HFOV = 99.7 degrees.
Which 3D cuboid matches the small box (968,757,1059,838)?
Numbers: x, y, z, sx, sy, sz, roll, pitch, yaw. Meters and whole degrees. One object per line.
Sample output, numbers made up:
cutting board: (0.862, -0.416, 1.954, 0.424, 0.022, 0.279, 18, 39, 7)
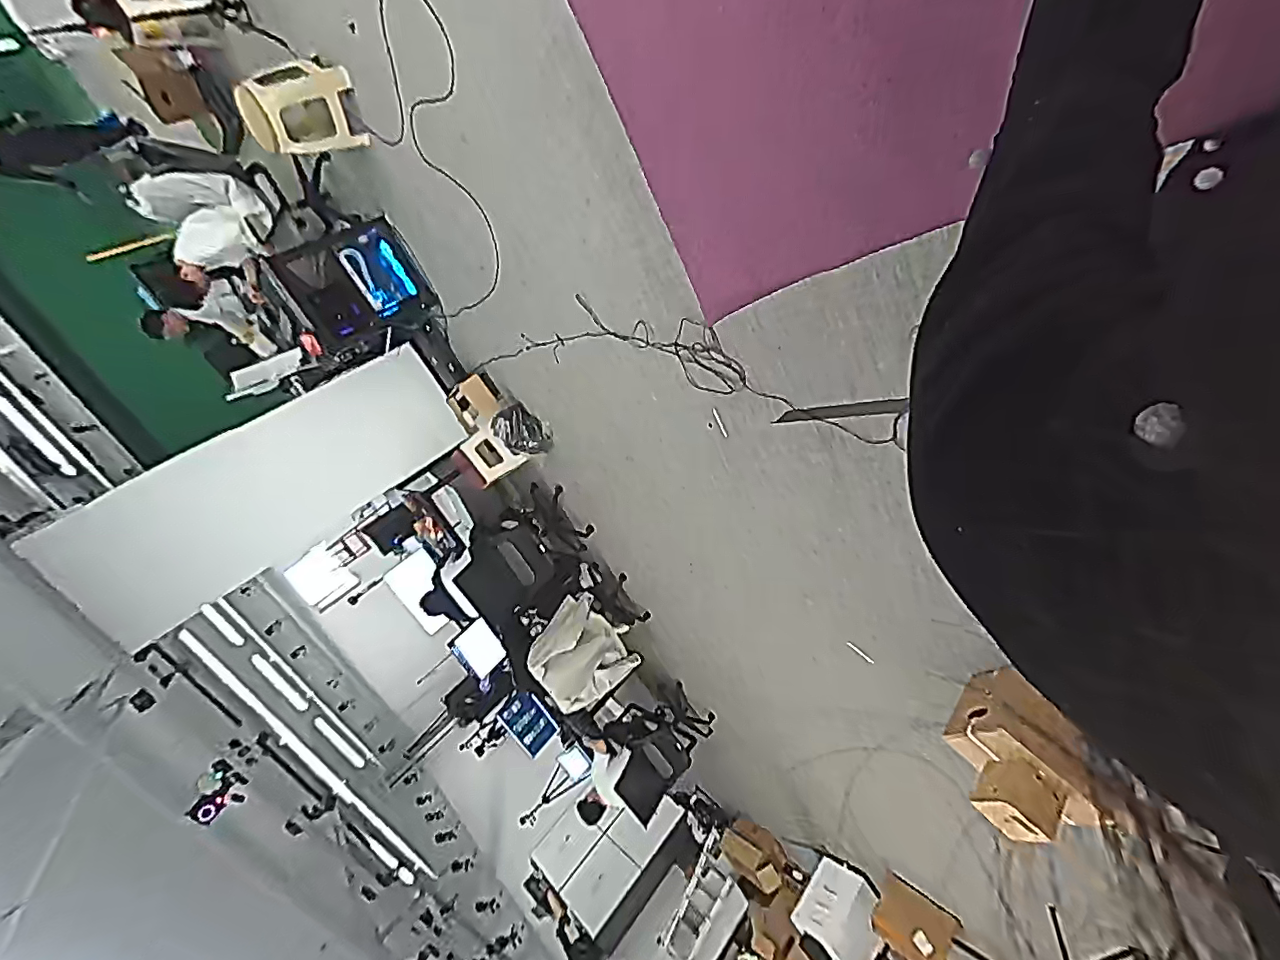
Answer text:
small box: (1.246, 1.049, 1.795, 0.168, 0.176, 0.179, 42, 151, 13)
